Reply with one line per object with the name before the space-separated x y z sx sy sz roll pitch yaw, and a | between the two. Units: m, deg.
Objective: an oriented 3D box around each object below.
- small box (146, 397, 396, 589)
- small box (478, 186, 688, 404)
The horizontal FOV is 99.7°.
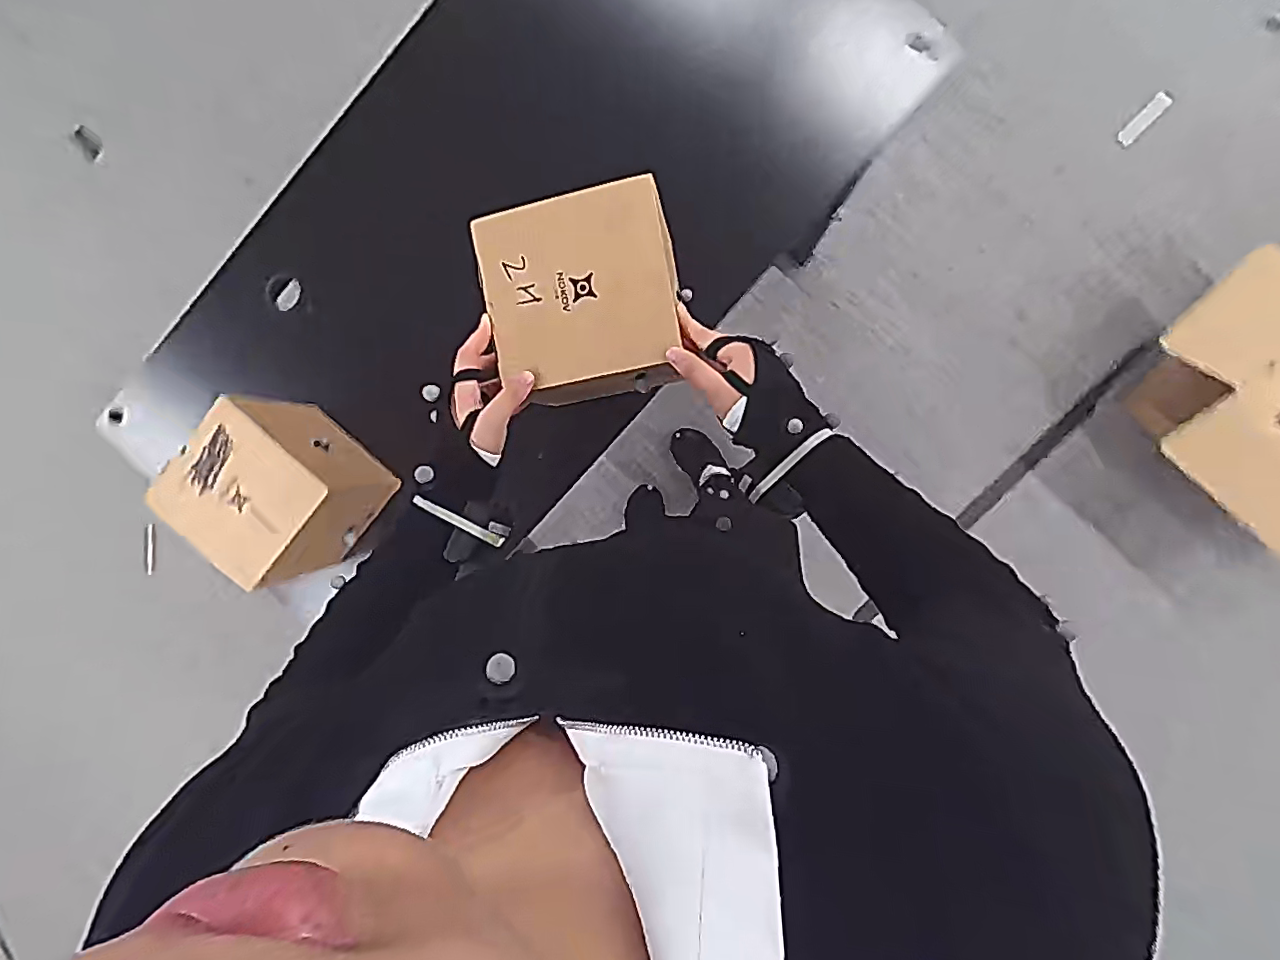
small box | -0.475 0.014 0.724 0.179 0.176 0.168 40 95 1
small box | -0.045 -0.177 0.576 0.179 0.176 0.168 -8 93 10
